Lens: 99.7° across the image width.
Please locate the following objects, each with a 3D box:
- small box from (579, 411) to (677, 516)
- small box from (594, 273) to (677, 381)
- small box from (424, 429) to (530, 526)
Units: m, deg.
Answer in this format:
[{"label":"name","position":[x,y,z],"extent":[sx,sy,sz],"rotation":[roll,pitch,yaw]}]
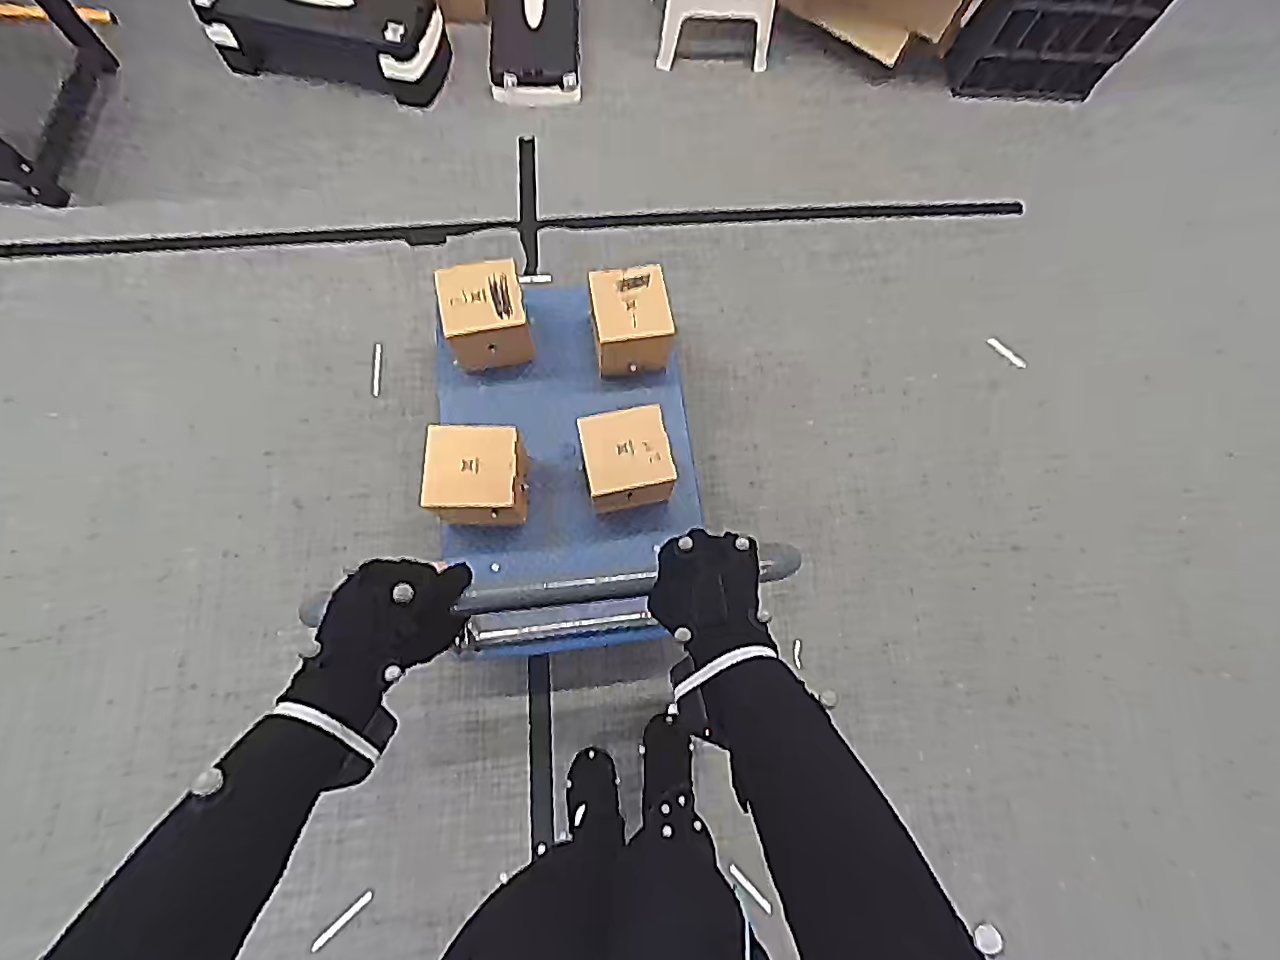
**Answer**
[{"label":"small box","position":[-0.028,-0.029,1.163],"extent":[0.179,0.176,0.168],"rotation":[-10,74,-6]},{"label":"small box","position":[-0.018,-0.353,1.260],"extent":[0.168,0.176,0.179],"rotation":[-8,75,-6]},{"label":"small box","position":[-0.332,0.001,1.136],"extent":[0.179,0.176,0.168],"rotation":[1,73,-5]}]
